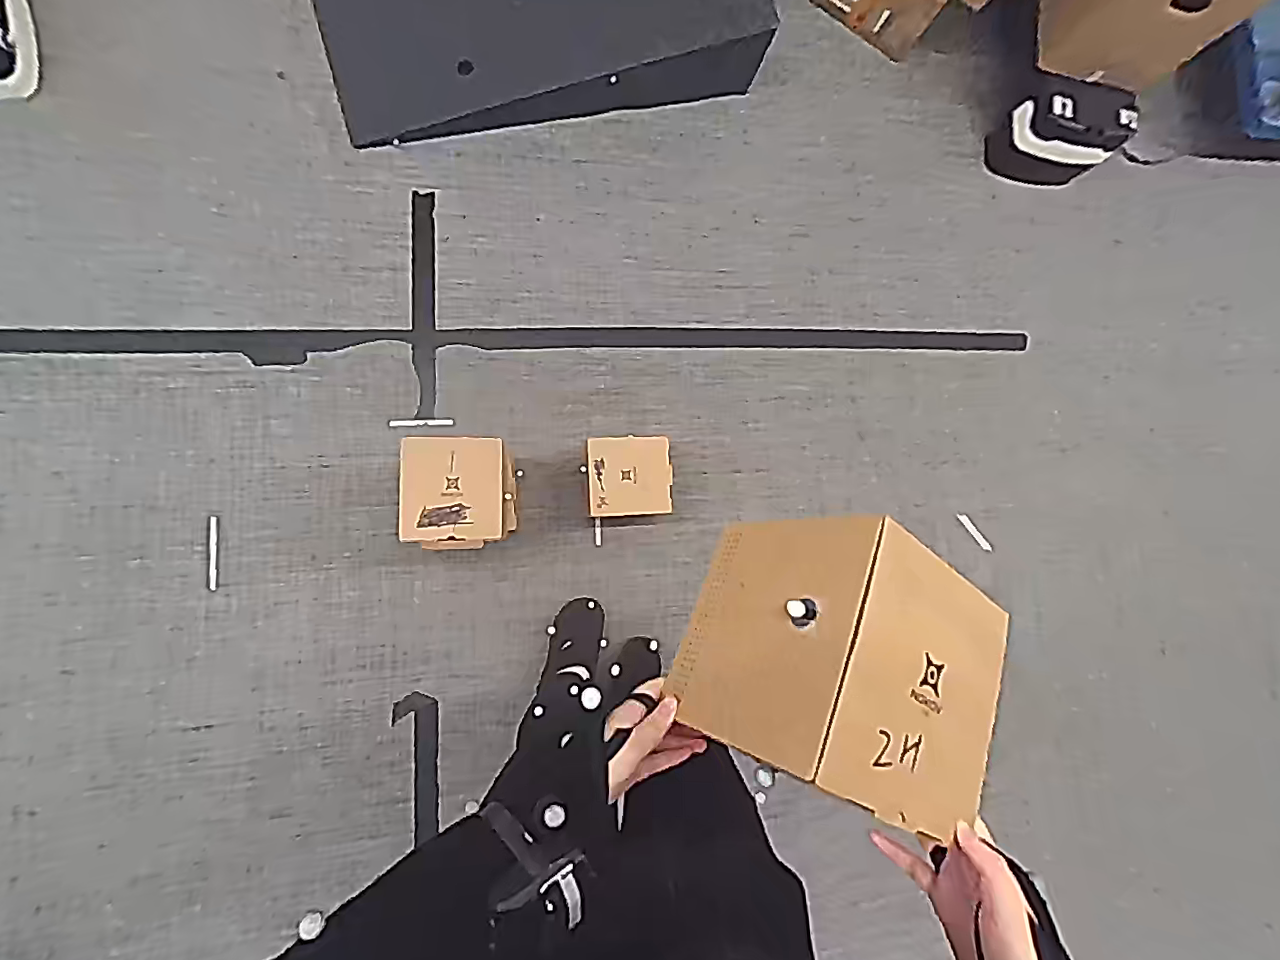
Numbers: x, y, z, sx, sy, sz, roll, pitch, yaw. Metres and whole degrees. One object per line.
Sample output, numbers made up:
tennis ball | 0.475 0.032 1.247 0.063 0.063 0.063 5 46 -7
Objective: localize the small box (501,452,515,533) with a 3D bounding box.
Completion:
small box | -0.354 0.030 1.135 0.179 0.176 0.168 -3 87 -11

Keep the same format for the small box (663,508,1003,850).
small box | 0.144 0.141 0.425 0.168 0.176 0.179 34 68 -22

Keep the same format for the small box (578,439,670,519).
small box | -0.041 0.001 1.195 0.179 0.176 0.168 -1 86 -11

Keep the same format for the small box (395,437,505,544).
small box | -0.332 0.022 0.973 0.168 0.176 0.179 0 85 -11
